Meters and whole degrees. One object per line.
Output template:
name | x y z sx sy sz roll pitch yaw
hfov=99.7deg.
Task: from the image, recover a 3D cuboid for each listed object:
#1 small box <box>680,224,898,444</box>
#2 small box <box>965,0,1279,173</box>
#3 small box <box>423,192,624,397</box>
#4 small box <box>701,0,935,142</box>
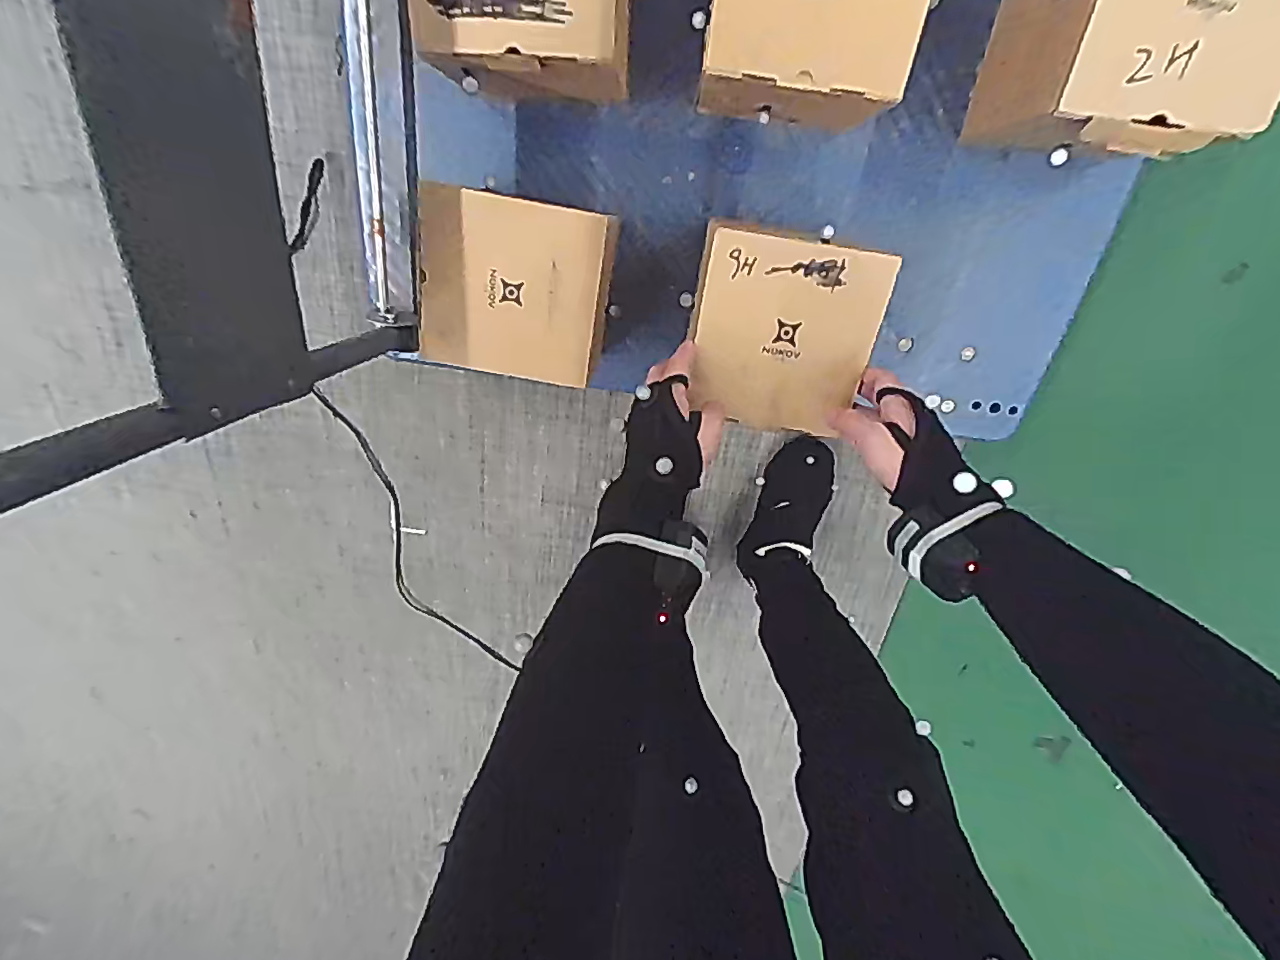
small box | 0.141 -0.163 0.582 0.168 0.176 0.179 10 119 -1
small box | 0.429 -0.389 0.481 0.168 0.176 0.179 8 115 1
small box | -0.120 -0.206 0.597 0.179 0.176 0.168 10 115 -2
small box | 0.151 -0.424 0.484 0.168 0.176 0.179 8 116 -1
